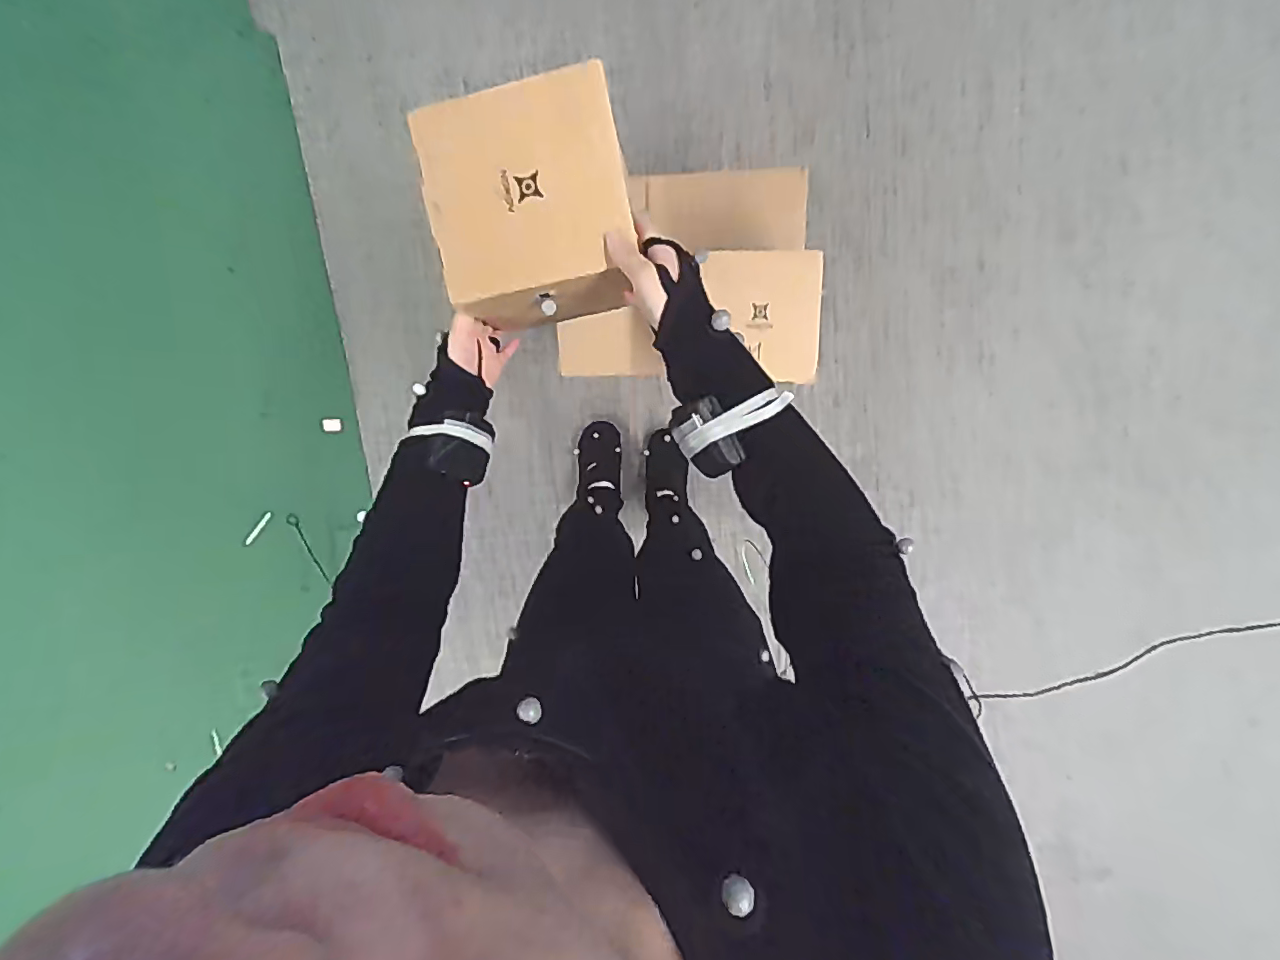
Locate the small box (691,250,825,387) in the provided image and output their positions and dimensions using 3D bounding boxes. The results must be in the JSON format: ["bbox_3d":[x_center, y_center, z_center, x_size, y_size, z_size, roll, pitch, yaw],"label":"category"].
[{"bbox_3d":[0.163,-0.230,0.806,0.168,0.176,0.179,1,100,2],"label":"small box"}]

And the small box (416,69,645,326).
[{"bbox_3d":[-0.092,-0.265,0.552,0.179,0.176,0.168,-10,96,6],"label":"small box"}]
